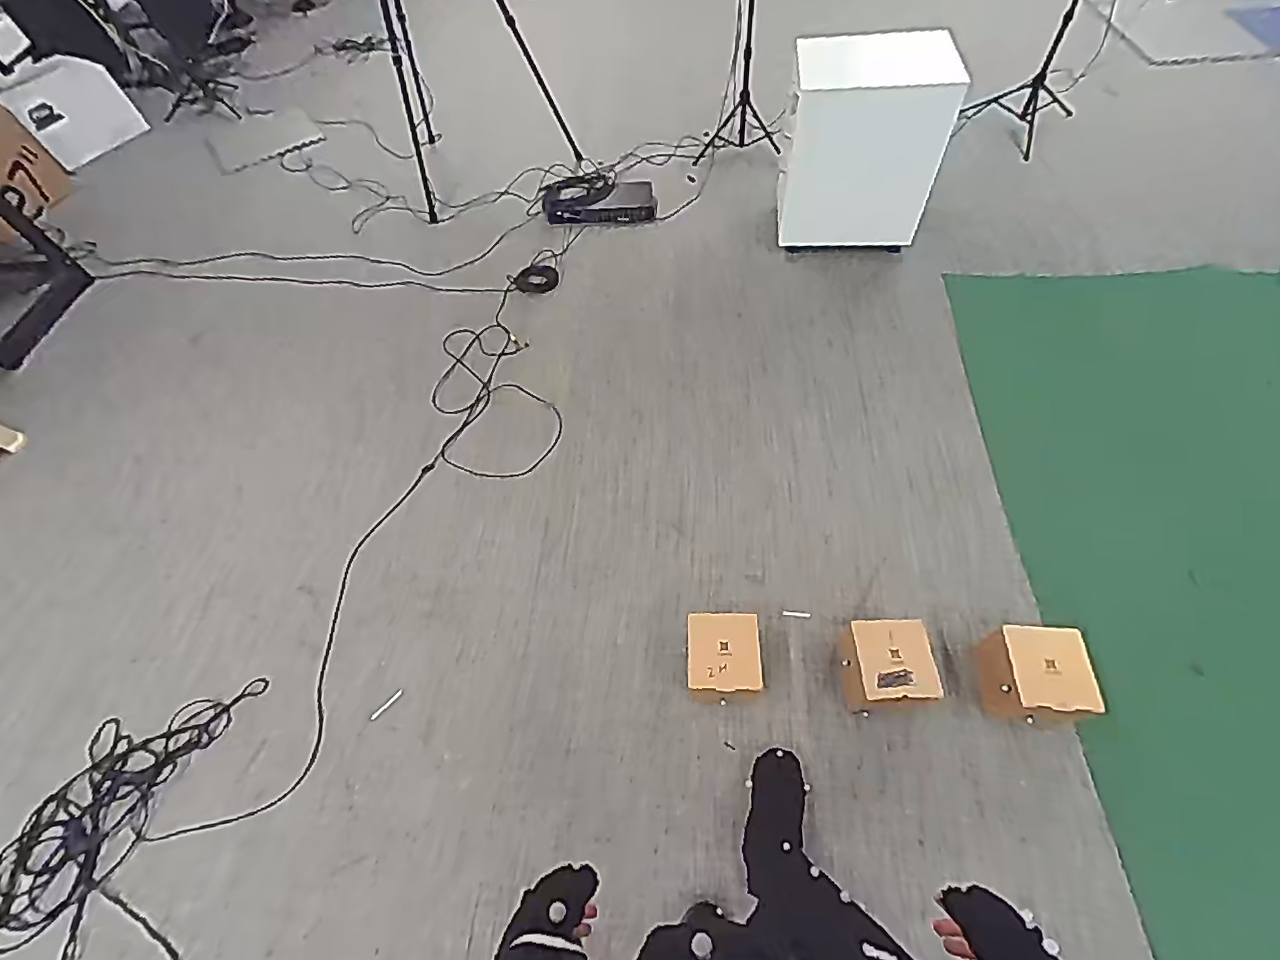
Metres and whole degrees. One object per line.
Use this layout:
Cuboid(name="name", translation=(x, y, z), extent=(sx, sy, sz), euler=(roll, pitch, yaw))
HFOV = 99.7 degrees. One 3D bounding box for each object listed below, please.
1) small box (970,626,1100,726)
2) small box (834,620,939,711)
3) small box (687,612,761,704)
Cuboid(name="small box", translation=(0.894, 0.454, 1.248), extent=(0.168, 0.176, 0.179), euler=(2, 58, 7))
Cuboid(name="small box", translation=(0.572, 0.444, 1.280), extent=(0.168, 0.176, 0.179), euler=(-2, 57, 3))
Cuboid(name="small box", translation=(0.199, 0.434, 1.316), extent=(0.168, 0.176, 0.179), euler=(-1, 58, 6))
